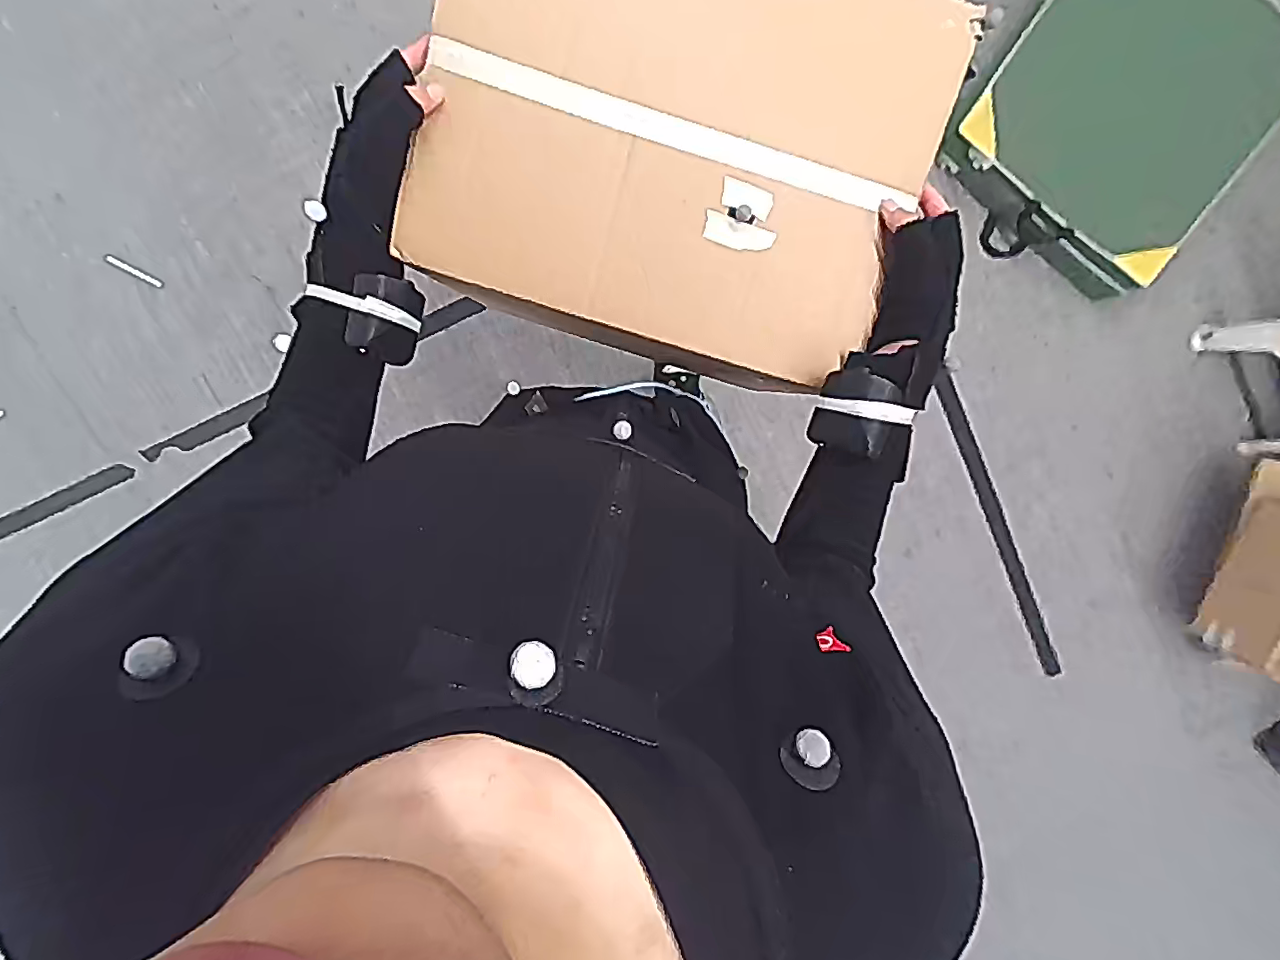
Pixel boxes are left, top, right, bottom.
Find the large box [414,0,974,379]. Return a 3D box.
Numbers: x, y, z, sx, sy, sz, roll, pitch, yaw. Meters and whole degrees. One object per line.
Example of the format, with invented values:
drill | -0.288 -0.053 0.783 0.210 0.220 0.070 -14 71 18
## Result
large box | 0.032 -0.311 0.589 0.408 0.320 0.320 16 101 -5
